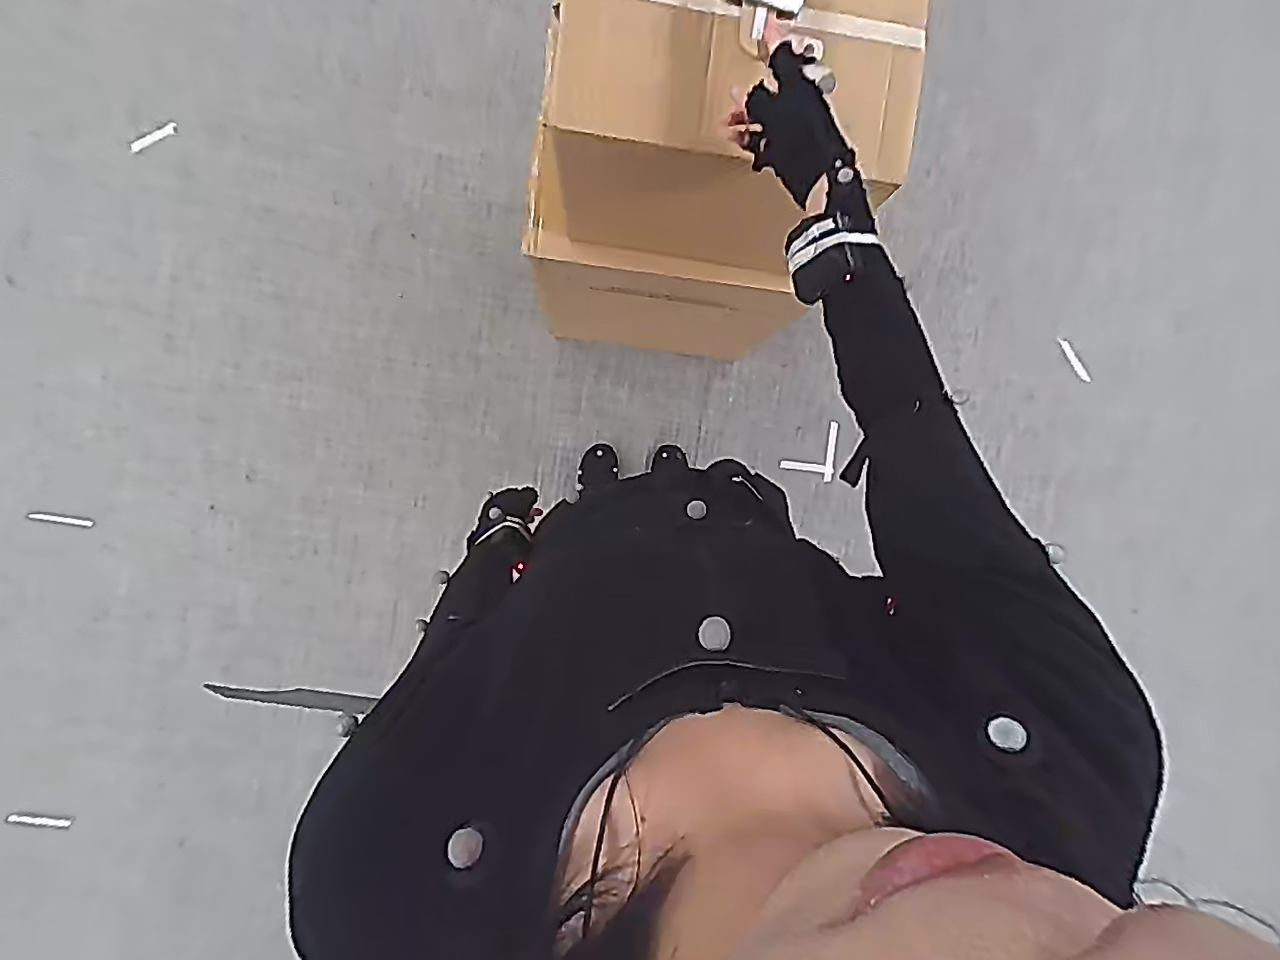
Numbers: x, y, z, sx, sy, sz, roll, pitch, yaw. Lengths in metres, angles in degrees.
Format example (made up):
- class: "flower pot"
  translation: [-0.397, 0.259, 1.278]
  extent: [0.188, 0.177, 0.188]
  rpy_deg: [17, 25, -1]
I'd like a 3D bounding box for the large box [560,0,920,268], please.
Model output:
- class: "large box"
  translation: [0.106, -0.524, 0.756]
  extent: [0.408, 0.320, 0.320]
  rpy_deg: [6, 92, -5]
